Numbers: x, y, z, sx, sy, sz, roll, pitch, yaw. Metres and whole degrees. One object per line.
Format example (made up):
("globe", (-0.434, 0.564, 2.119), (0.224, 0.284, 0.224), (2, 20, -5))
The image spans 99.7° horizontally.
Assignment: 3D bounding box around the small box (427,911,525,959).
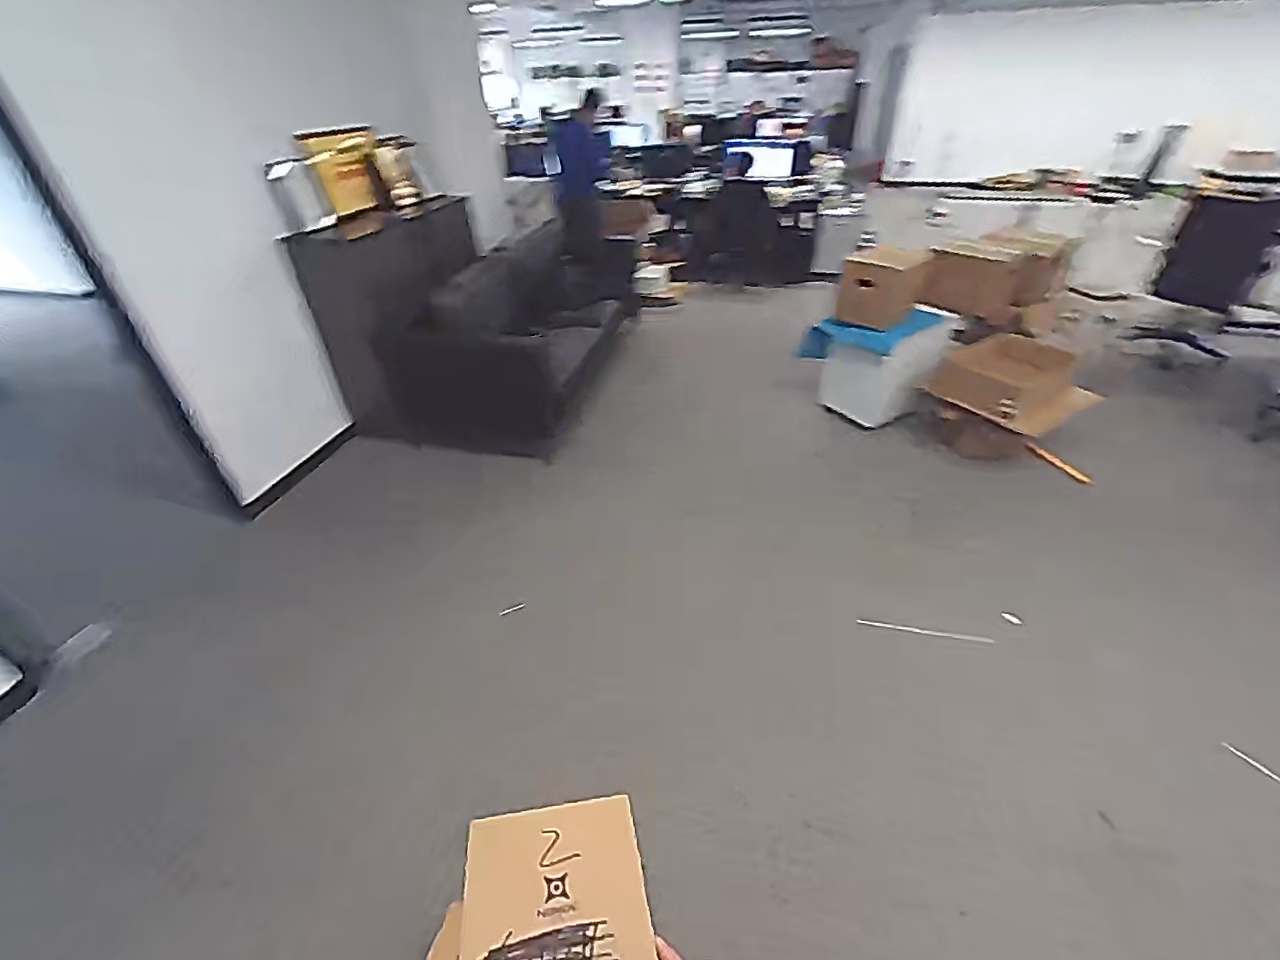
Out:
("small box", (-0.370, 1.098, 1.195), (0.179, 0.176, 0.168), (6, 37, 11))
